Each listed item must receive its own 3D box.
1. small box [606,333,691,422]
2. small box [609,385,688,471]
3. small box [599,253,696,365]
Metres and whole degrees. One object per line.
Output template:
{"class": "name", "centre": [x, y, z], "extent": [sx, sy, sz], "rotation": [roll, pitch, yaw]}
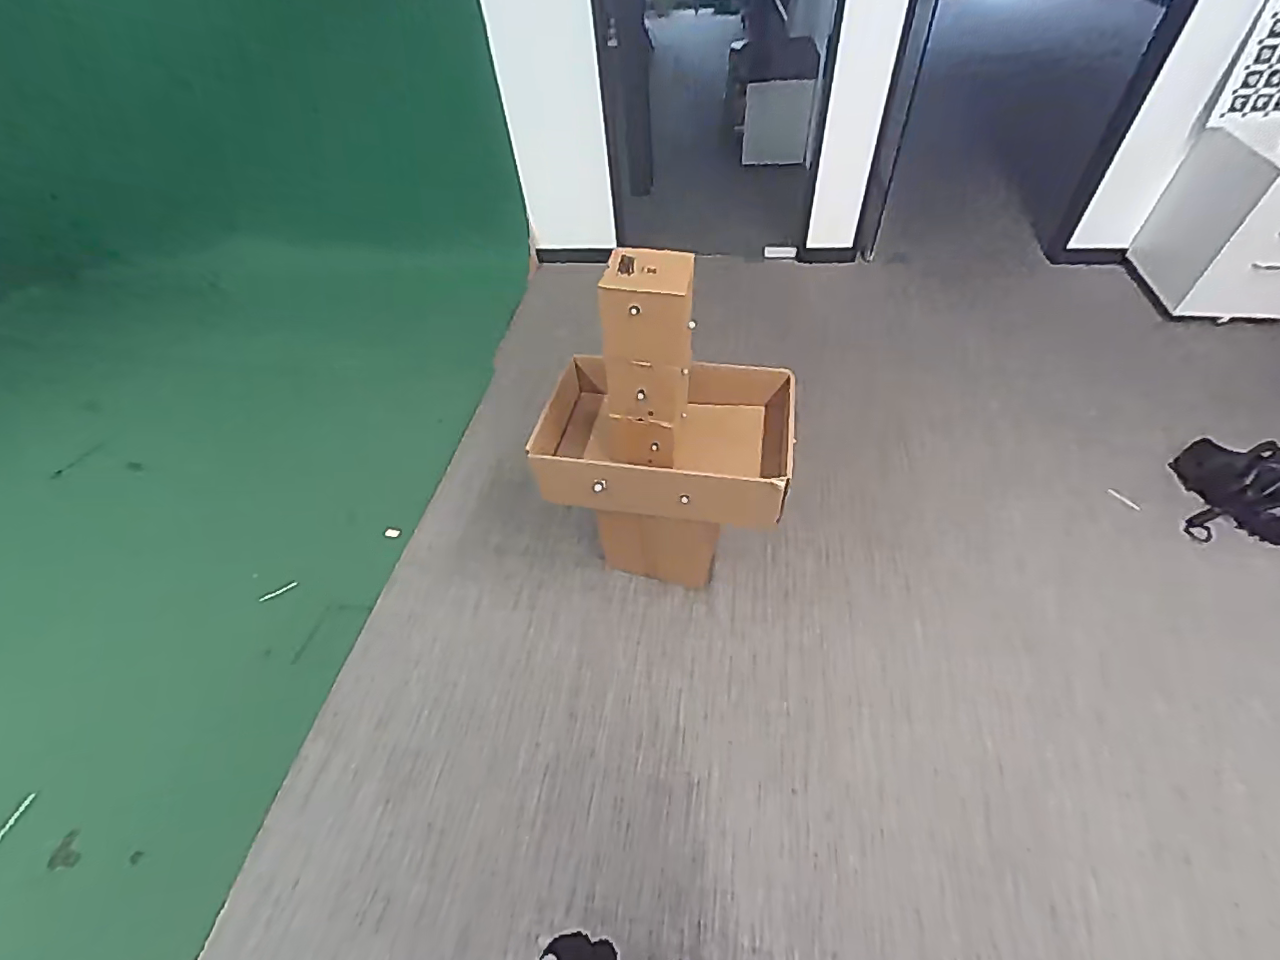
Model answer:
{"class": "small box", "centre": [0.026, -0.259, 1.287], "extent": [0.168, 0.176, 0.179], "rotation": [10, 51, 9]}
{"class": "small box", "centre": [0.027, -0.145, 1.405], "extent": [0.168, 0.176, 0.179], "rotation": [10, 49, 10]}
{"class": "small box", "centre": [0.019, -0.365, 1.160], "extent": [0.179, 0.176, 0.168], "rotation": [8, 50, 7]}
